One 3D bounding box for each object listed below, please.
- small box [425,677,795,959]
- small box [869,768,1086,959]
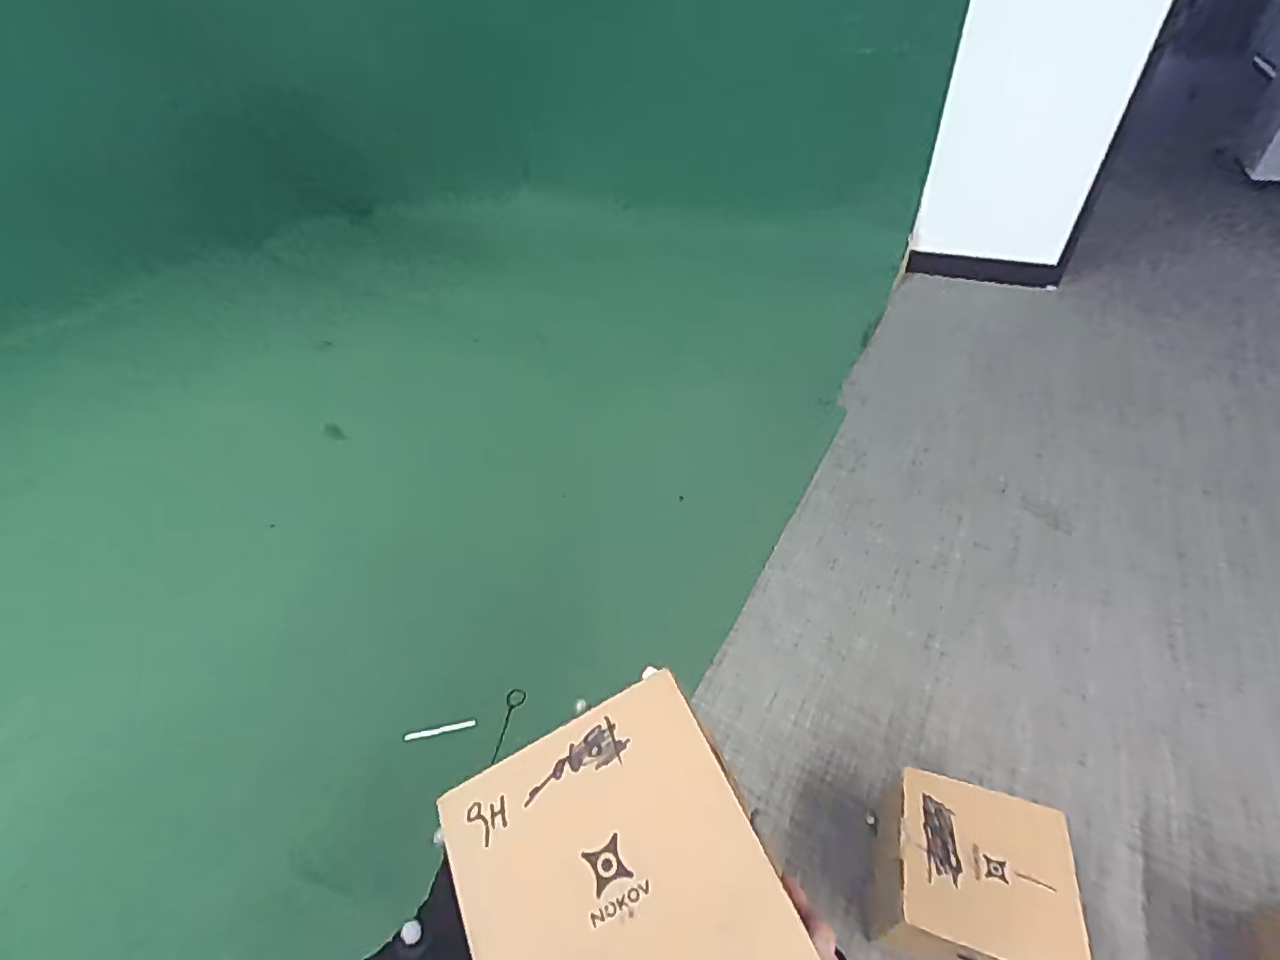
[{"bbox_3d":[-0.010,0.260,0.363,0.168,0.176,0.179,-27,60,-5],"label":"small box"},{"bbox_3d":[0.383,0.484,0.647,0.179,0.176,0.168,11,46,17],"label":"small box"}]
